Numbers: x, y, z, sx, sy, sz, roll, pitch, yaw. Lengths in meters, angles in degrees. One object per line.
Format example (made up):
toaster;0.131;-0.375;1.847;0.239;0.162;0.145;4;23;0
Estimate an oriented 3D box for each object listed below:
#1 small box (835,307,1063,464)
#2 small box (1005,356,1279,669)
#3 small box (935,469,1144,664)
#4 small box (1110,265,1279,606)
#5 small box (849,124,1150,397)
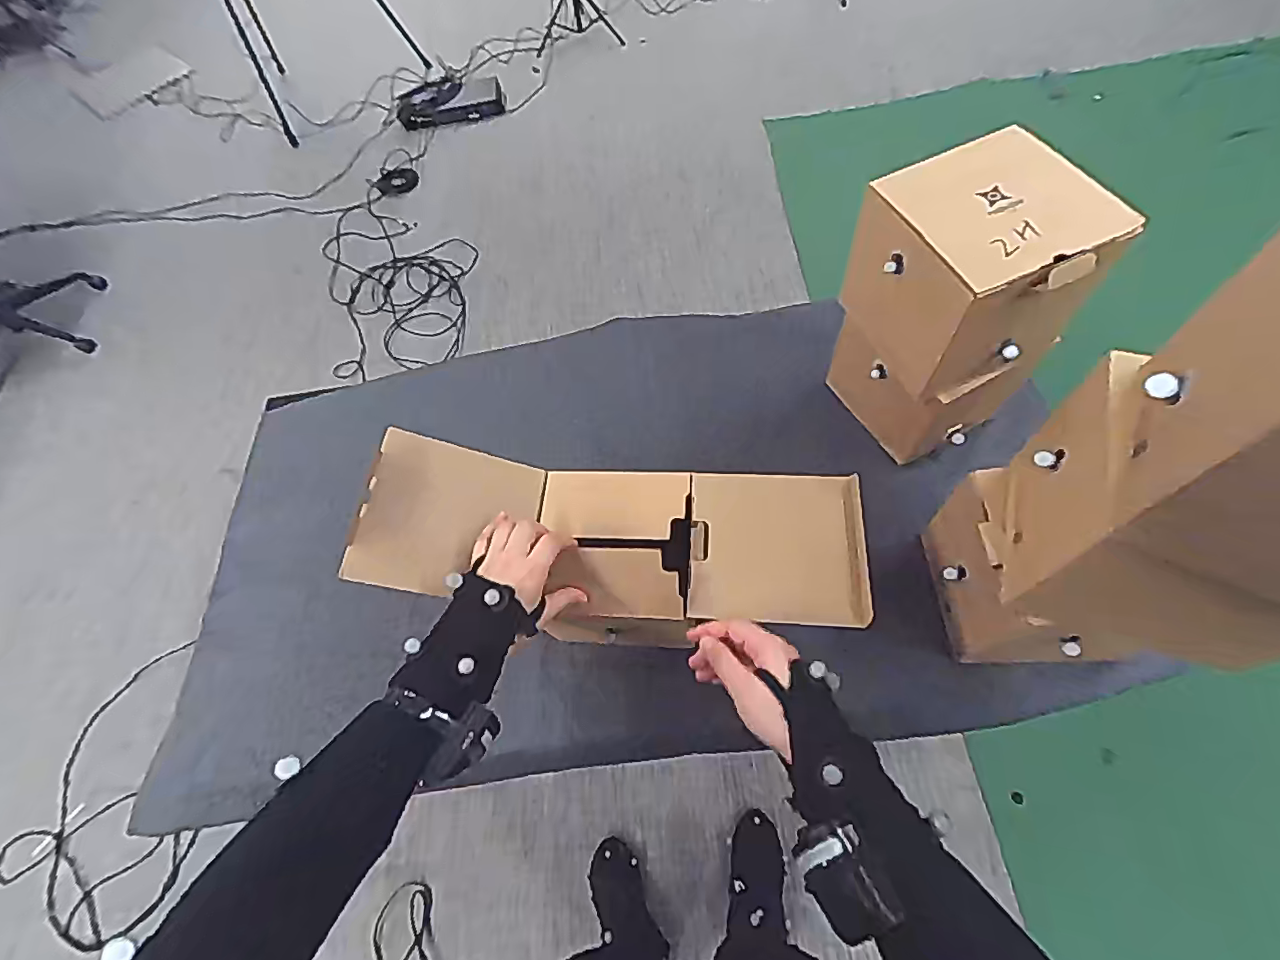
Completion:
small box;0.384;-0.153;0.716;0.168;0.176;0.179;-28;64;-4
small box;0.424;0.033;0.430;0.179;0.176;0.168;16;64;16
small box;0.440;0.098;0.580;0.179;0.176;0.168;-3;60;7
small box;0.404;-0.027;0.275;0.179;0.176;0.168;26;67;21
small box;0.346;-0.221;0.570;0.168;0.176;0.179;-22;64;0
